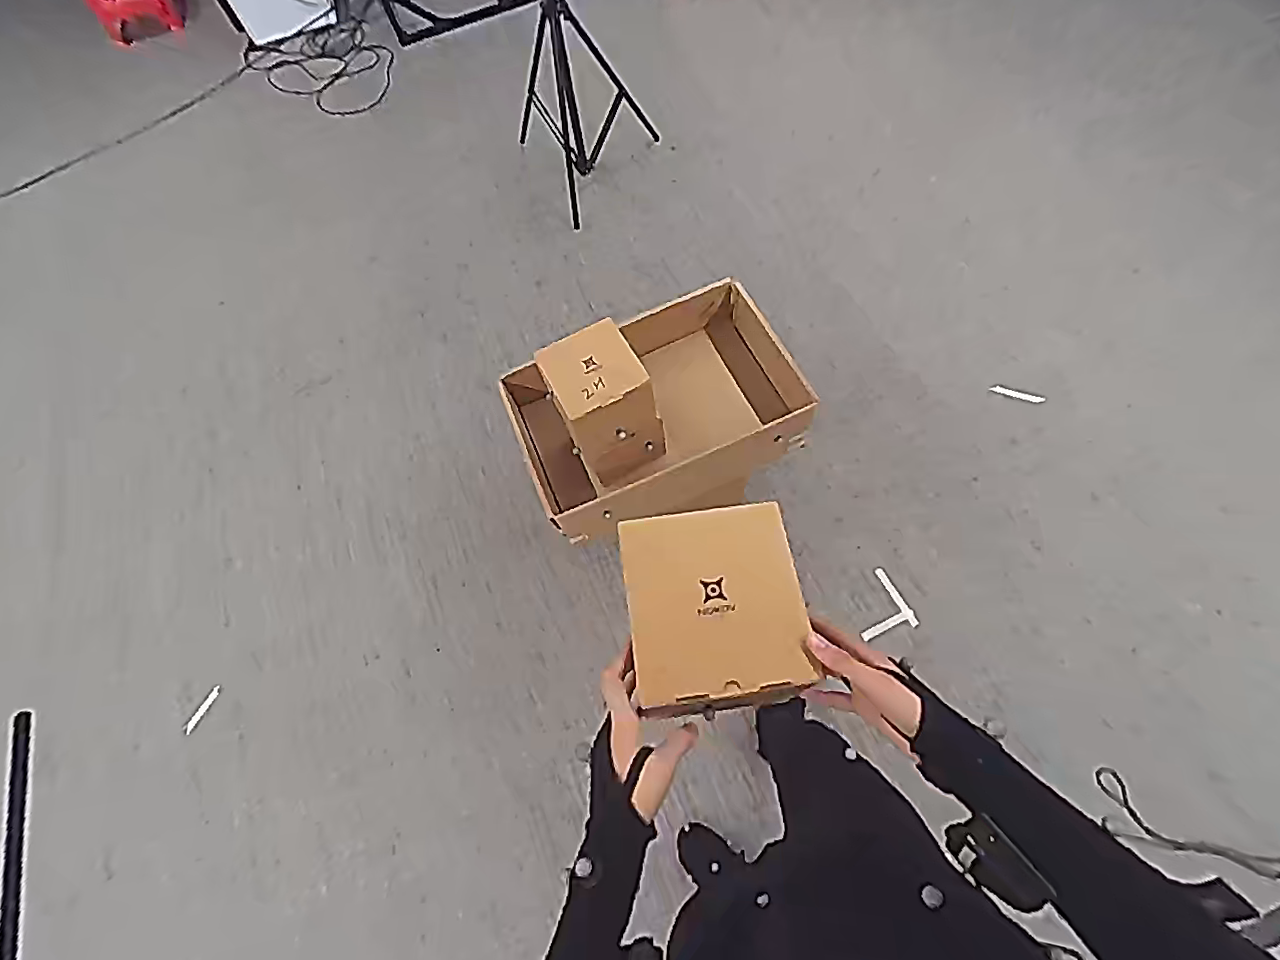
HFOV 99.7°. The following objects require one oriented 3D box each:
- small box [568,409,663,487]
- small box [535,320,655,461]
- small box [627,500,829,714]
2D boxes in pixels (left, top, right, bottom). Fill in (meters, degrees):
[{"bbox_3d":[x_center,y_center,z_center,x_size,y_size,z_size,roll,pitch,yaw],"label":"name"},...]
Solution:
[{"bbox_3d":[-0.060,-0.114,1.212,0.179,0.176,0.168,-30,67,-7],"label":"small box"},{"bbox_3d":[-0.082,-0.169,1.058,0.168,0.176,0.179,-28,67,-7],"label":"small box"},{"bbox_3d":[0.076,0.142,0.580,0.168,0.176,0.179,-7,64,-3],"label":"small box"}]
